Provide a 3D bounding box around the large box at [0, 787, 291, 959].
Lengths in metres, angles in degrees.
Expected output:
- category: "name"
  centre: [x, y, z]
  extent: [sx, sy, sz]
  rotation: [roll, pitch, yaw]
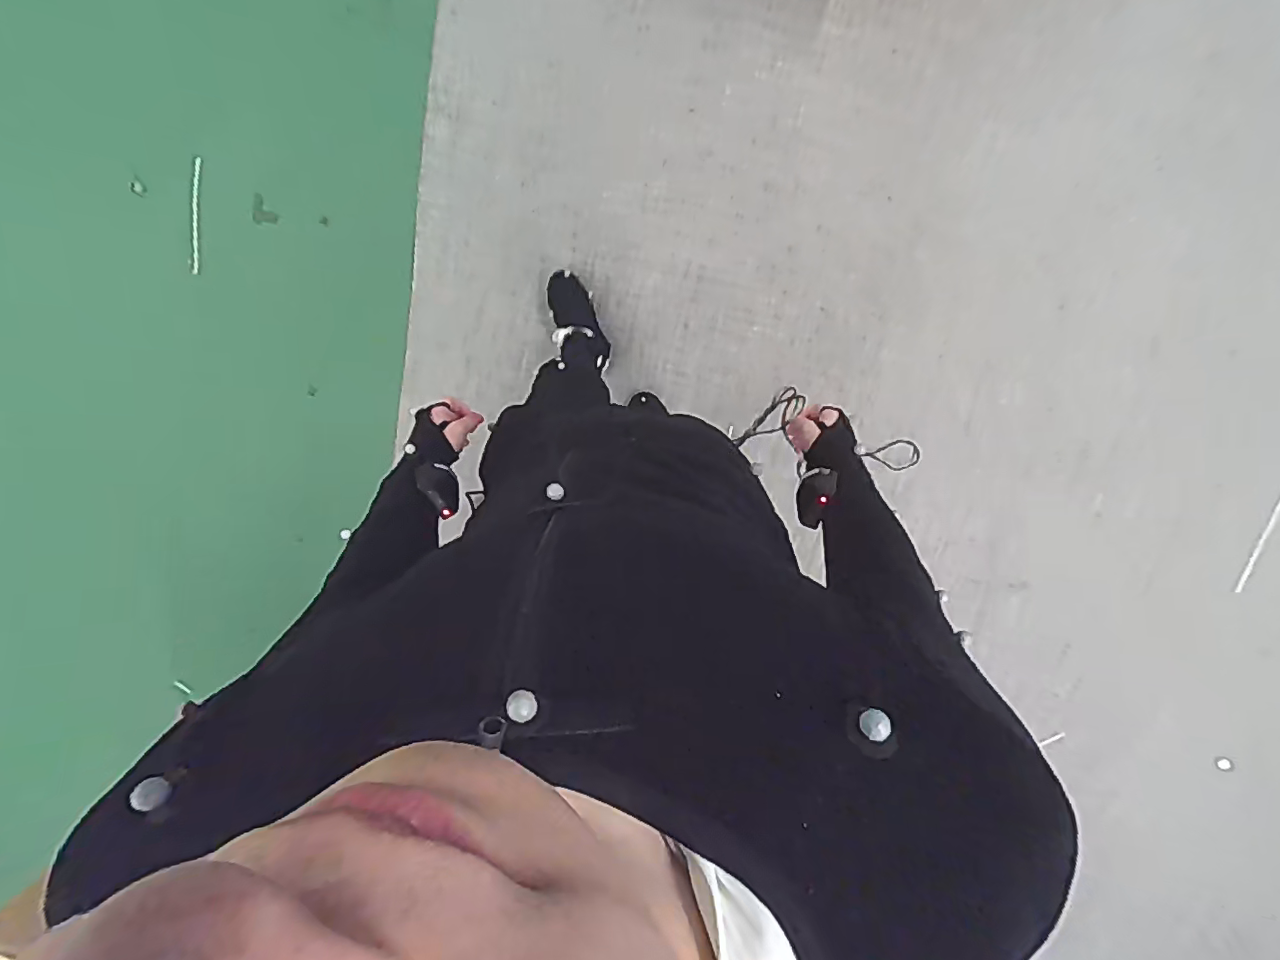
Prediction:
- category: "large box"
  centre: [-0.906, 0.881, 1.009]
  extent: [0.320, 0.320, 0.408]
  rotation: [13, 104, 0]
